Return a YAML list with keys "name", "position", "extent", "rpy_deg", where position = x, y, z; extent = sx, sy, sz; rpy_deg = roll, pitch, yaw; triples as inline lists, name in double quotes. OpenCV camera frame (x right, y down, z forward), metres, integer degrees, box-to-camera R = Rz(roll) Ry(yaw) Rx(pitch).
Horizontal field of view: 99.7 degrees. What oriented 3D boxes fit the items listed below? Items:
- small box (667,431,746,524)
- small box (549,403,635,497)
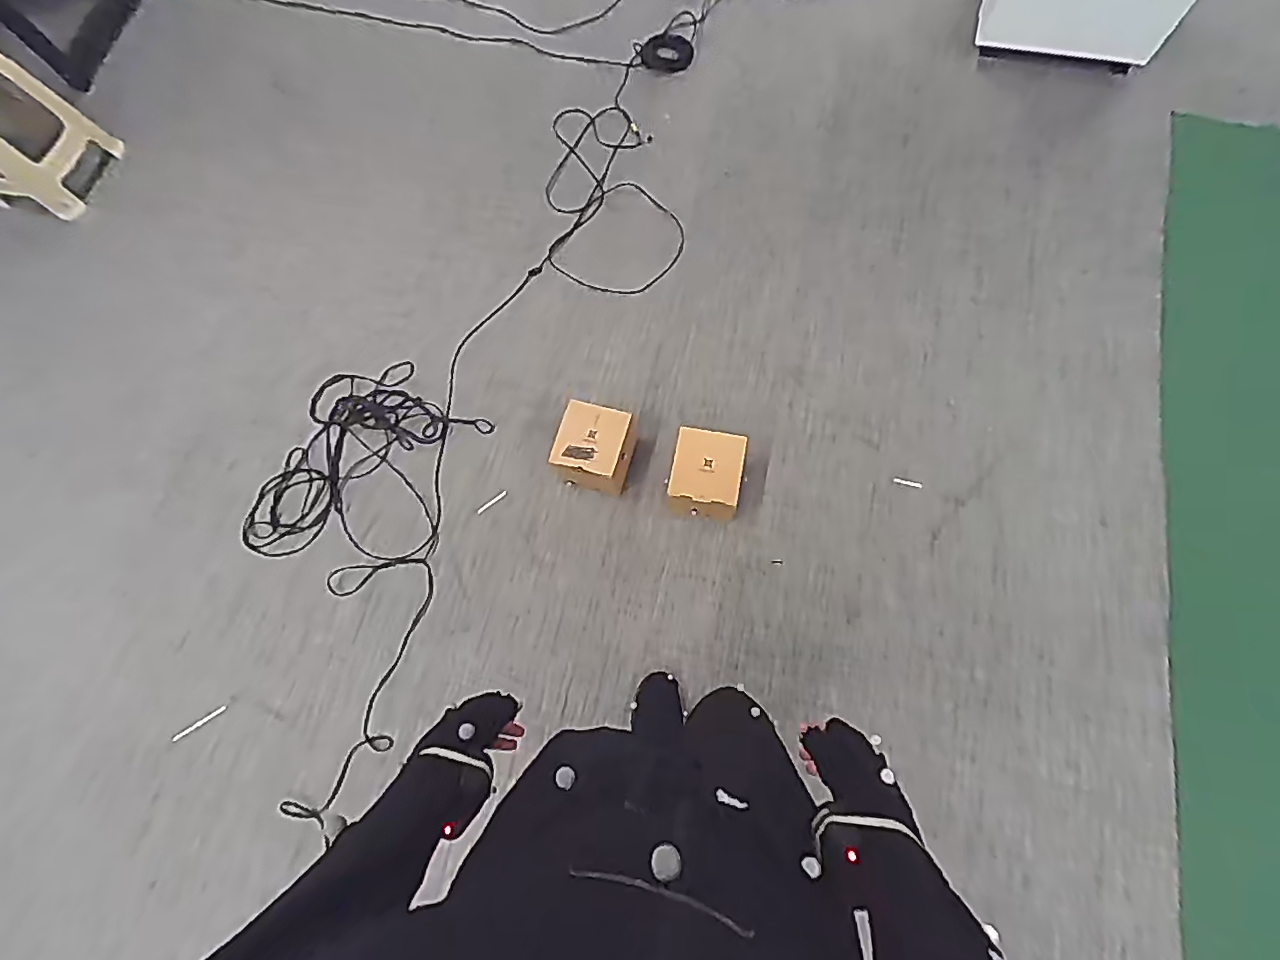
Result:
- name: "small box"
  position: [0.164, -0.003, 1.363]
  extent: [0.168, 0.176, 0.179]
  rpy_deg: [10, 74, 7]
- name: "small box"
  position: [-0.115, -0.072, 1.403]
  extent: [0.168, 0.176, 0.179]
  rpy_deg: [15, 73, 8]
